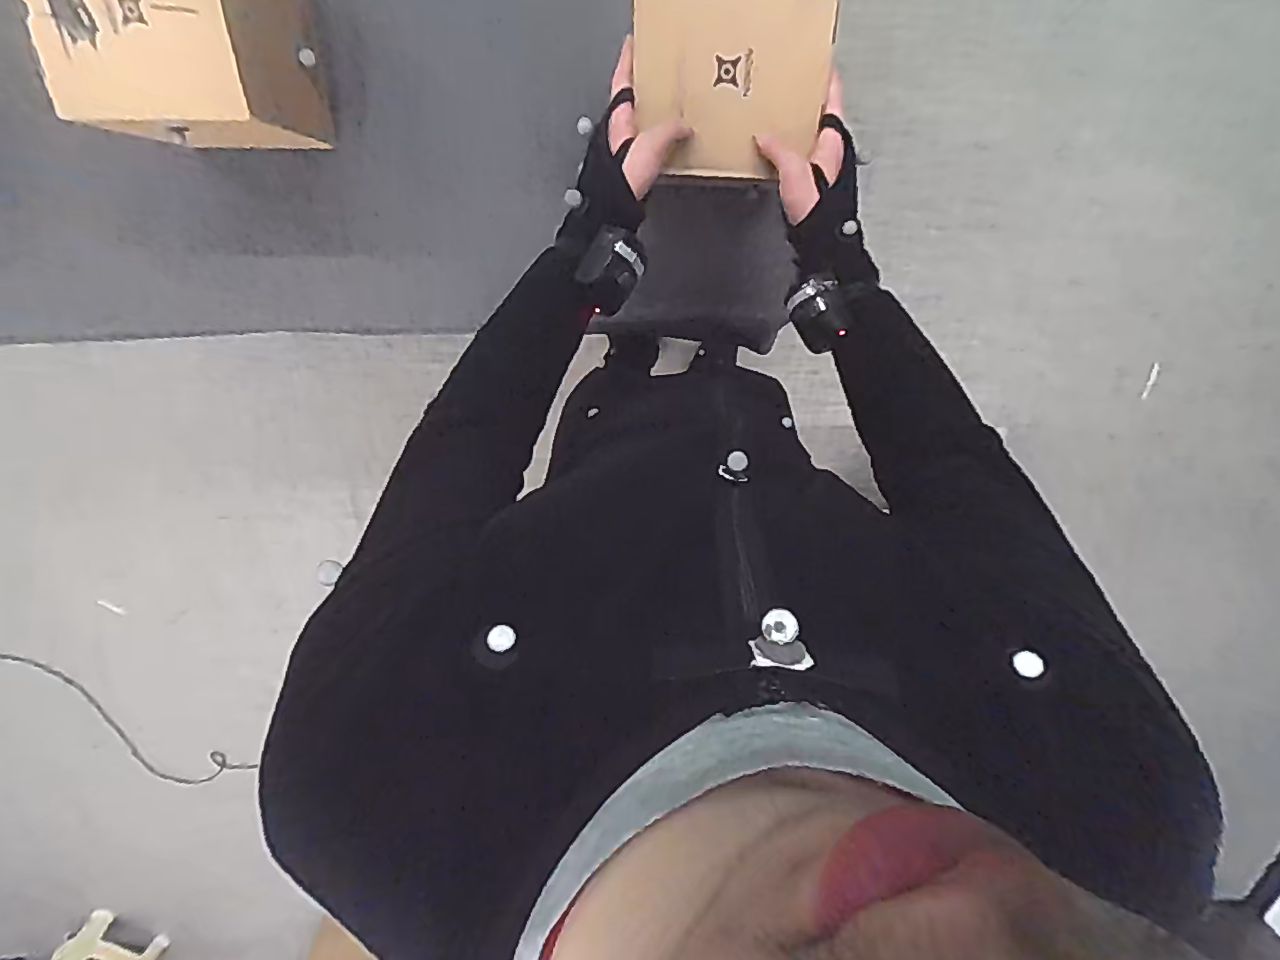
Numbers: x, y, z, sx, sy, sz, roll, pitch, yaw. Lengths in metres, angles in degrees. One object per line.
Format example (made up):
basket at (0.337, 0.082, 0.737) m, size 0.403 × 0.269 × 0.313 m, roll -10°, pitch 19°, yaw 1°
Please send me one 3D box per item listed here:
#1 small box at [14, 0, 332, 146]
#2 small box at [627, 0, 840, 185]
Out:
small box at (-0.446, -0.437, 0.533) m, size 0.179 × 0.176 × 0.168 m, roll 0°, pitch 115°, yaw -2°
small box at (0.079, -0.394, 0.539) m, size 0.179 × 0.176 × 0.168 m, roll 2°, pitch 116°, yaw 1°
